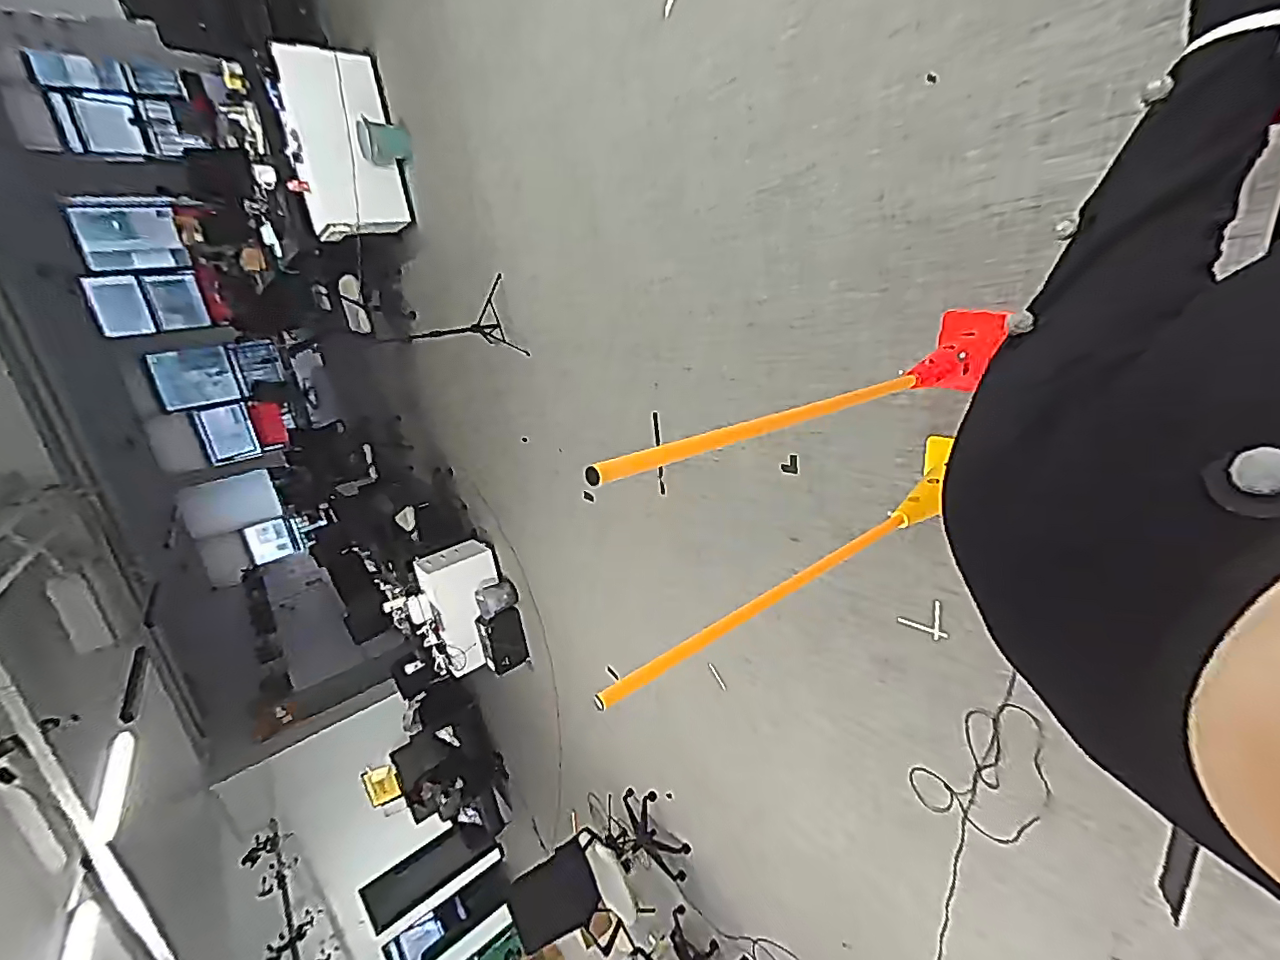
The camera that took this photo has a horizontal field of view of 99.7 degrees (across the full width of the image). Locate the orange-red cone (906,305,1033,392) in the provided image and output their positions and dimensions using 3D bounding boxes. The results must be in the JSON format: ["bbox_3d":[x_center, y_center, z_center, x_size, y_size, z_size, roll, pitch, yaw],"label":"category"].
[{"bbox_3d":[0.709,-0.277,1.236,0.198,0.360,0.199,24,125,45],"label":"orange-red cone"}]
